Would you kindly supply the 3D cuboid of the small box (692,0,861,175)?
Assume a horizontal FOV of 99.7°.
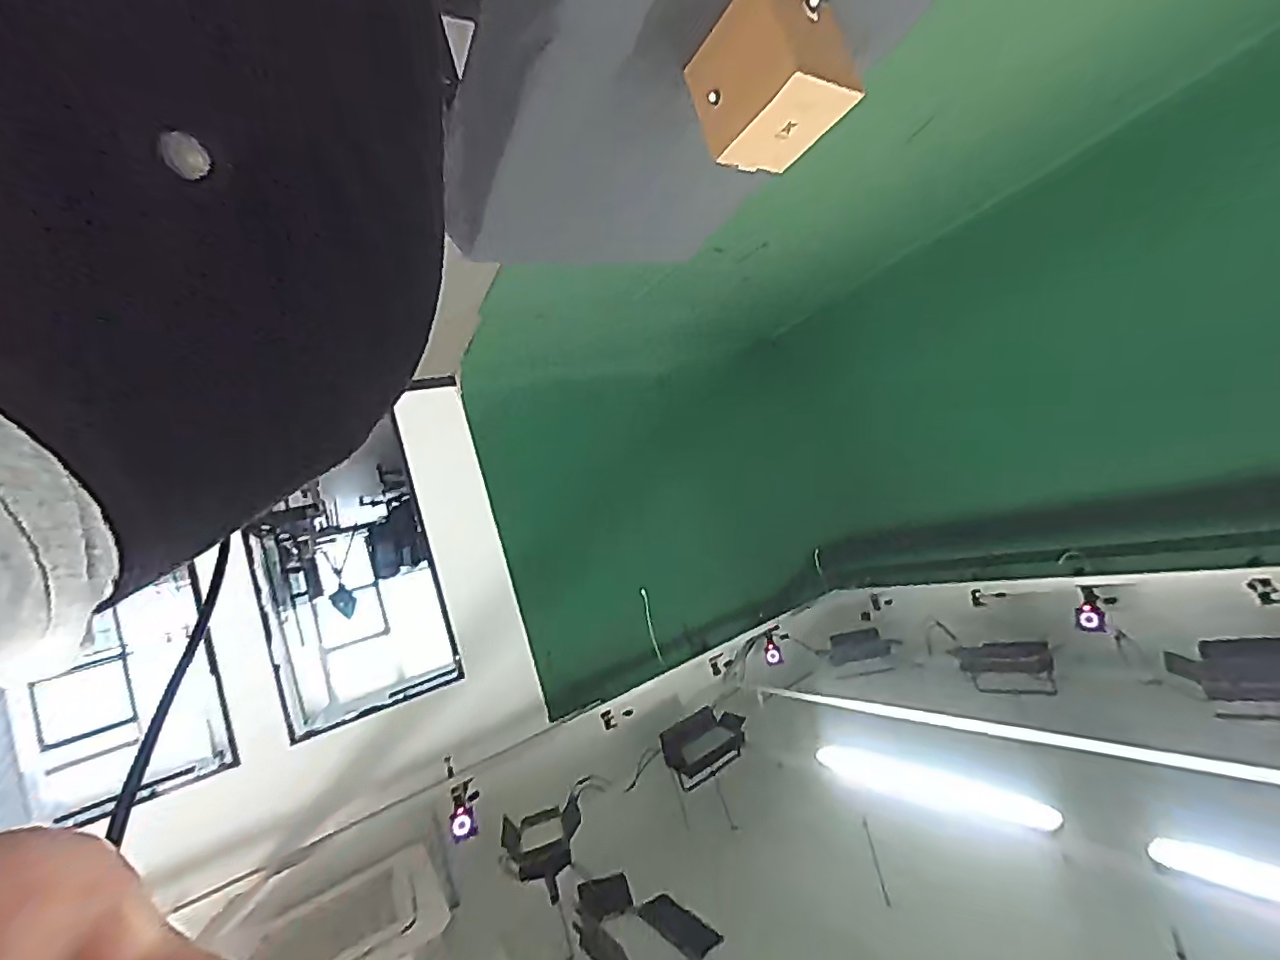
[{"bbox_3d":[0.201,-0.616,0.839,0.168,0.176,0.179,-15,174,-34],"label":"small box"}]
